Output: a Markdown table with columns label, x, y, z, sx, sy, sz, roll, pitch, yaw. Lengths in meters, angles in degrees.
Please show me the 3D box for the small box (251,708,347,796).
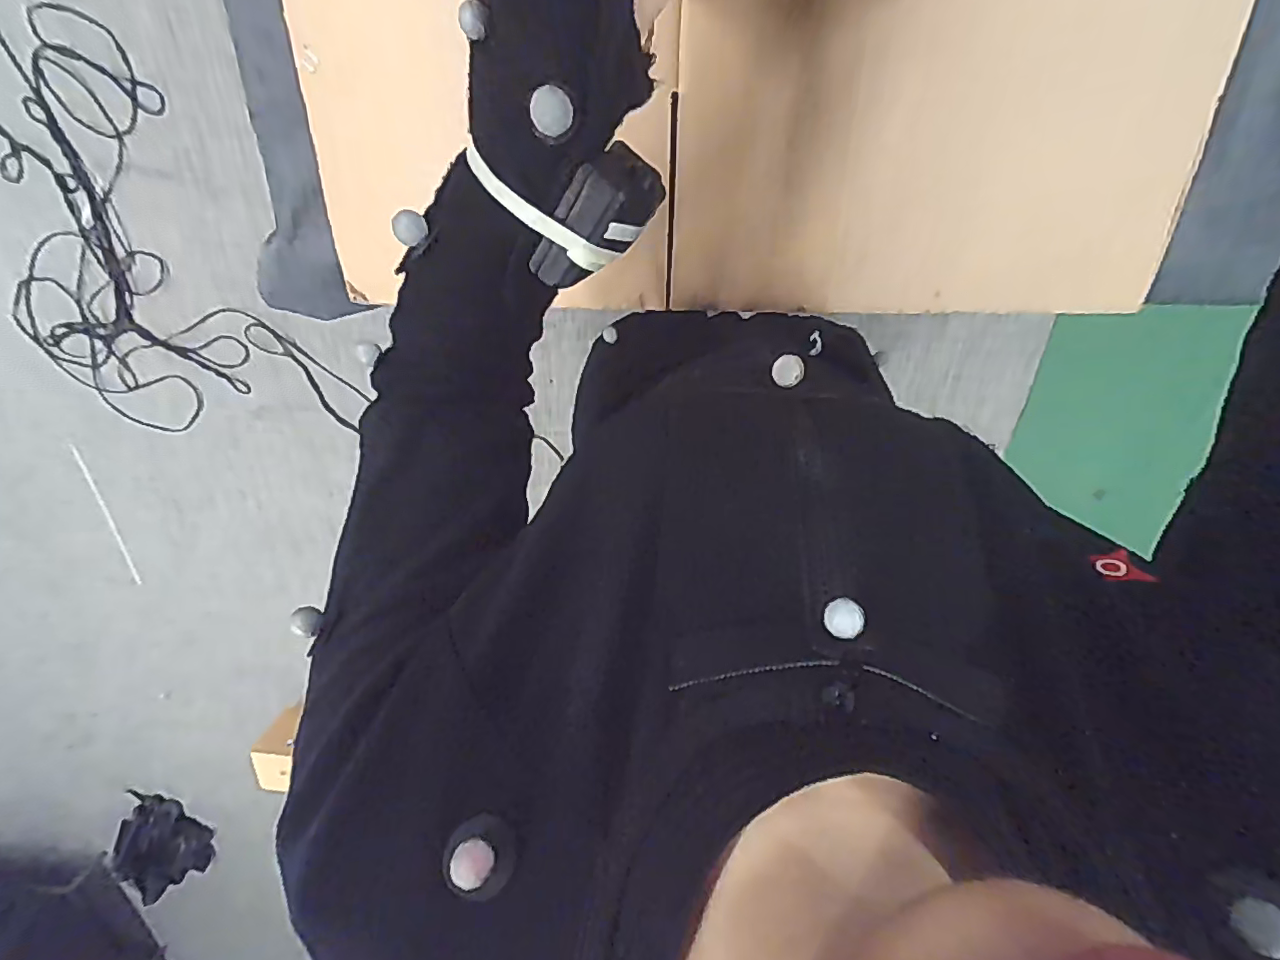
| label | x | y | z | sx | sy | sz | roll | pitch | yaw |
| --- | --- | --- | --- | --- | --- | --- | --- | --- | --- |
| small box | -1.033 | 0.824 | 1.650 | 0.179 | 0.176 | 0.168 | 6 | 115 | 0 |
